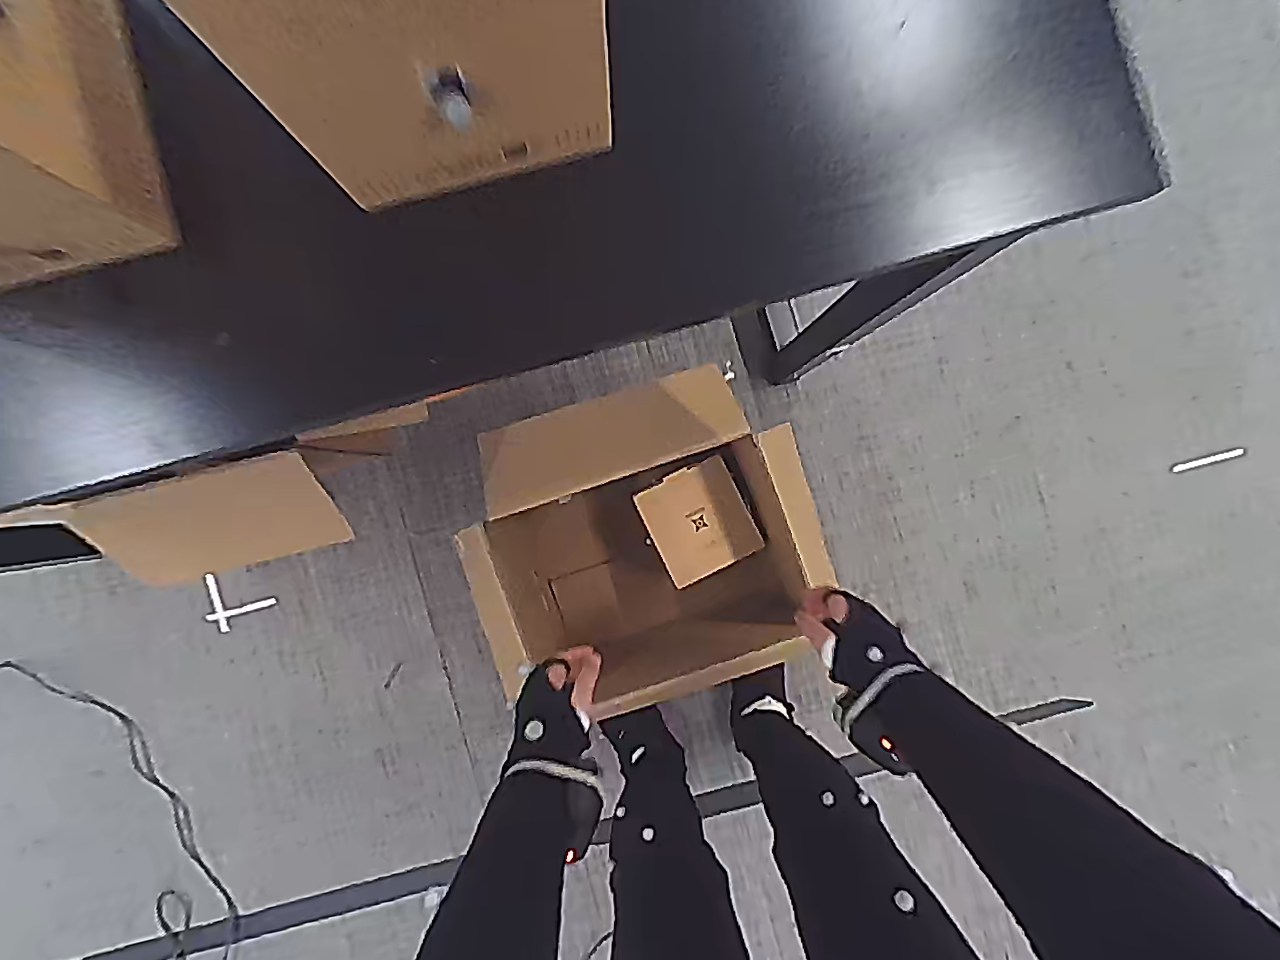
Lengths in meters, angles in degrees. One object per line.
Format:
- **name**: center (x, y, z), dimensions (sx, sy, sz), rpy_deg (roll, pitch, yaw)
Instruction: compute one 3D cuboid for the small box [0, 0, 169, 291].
- **small box**: center (-0.385, -0.208, 0.255), dimensions (0.168, 0.176, 0.179), rpy_deg (-15, 90, -1)
